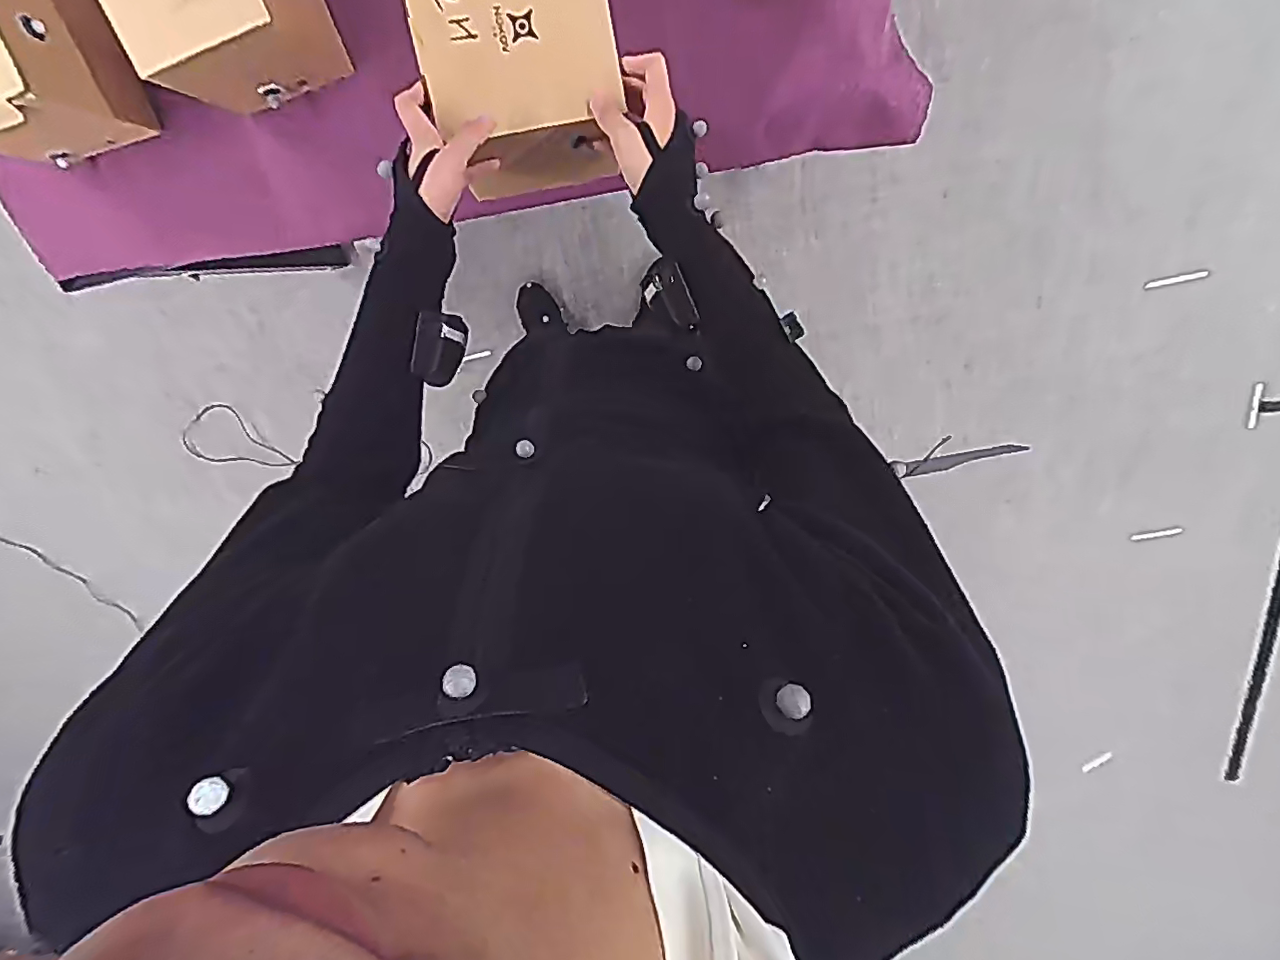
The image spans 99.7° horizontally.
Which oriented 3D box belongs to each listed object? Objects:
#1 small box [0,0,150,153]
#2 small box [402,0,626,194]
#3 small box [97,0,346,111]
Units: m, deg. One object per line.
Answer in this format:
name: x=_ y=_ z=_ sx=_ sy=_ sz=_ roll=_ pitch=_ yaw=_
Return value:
small box: x=-0.746 y=-0.504 z=0.631 sx=0.168 sy=0.176 sz=0.179 roll=-13 pitch=110 yaw=6
small box: x=-0.119 y=-0.412 z=0.547 sx=0.179 sy=0.176 sz=0.168 roll=-12 pitch=103 yaw=-2
small box: x=-0.478 y=-0.557 z=0.607 sx=0.168 sy=0.176 sz=0.179 roll=-15 pitch=111 yaw=8
